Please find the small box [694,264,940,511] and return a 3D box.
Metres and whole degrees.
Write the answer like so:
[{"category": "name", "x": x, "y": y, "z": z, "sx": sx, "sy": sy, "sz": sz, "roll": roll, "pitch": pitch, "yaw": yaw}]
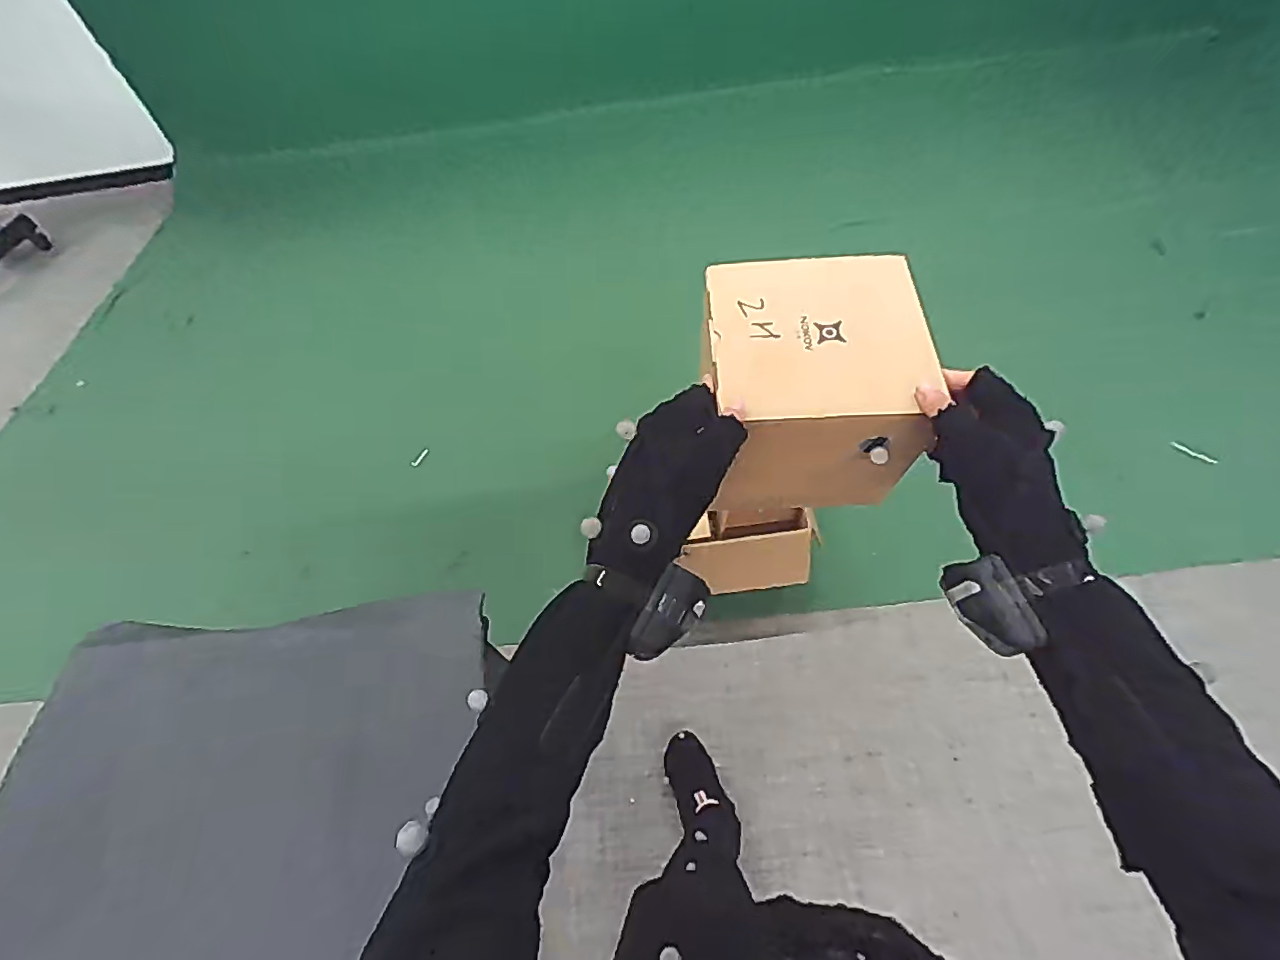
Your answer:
[{"category": "small box", "x": 0.144, "y": -0.078, "z": 0.514, "sx": 0.179, "sy": 0.176, "sz": 0.168, "roll": -2, "pitch": 63, "yaw": 3}]
